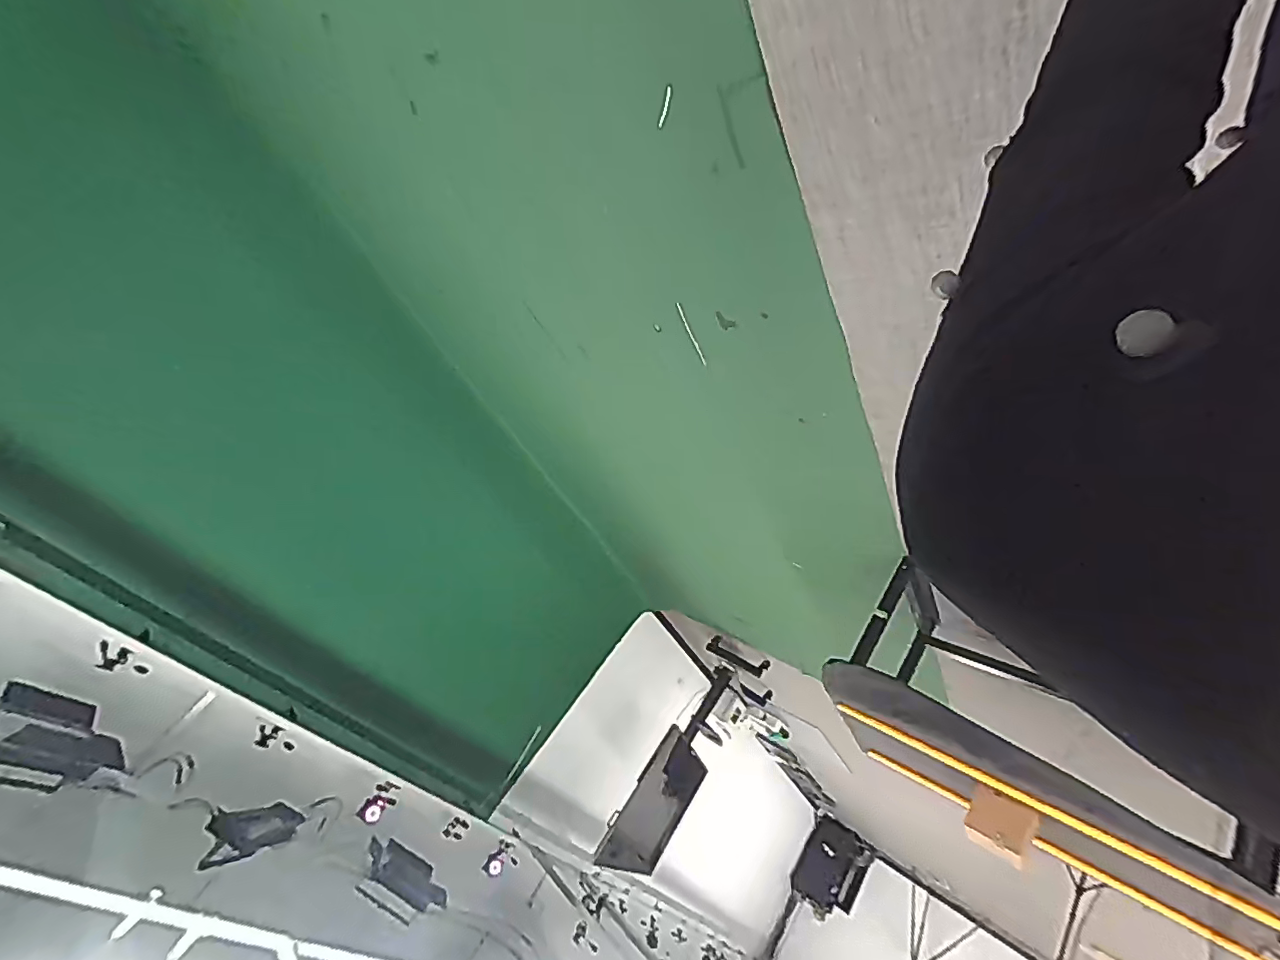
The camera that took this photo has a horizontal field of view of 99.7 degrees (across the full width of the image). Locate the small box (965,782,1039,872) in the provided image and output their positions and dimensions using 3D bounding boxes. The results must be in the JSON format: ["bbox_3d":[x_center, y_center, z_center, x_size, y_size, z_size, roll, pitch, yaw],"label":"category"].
[{"bbox_3d":[1.214,1.155,1.806,0.168,0.176,0.179,13,146,47],"label":"small box"}]
